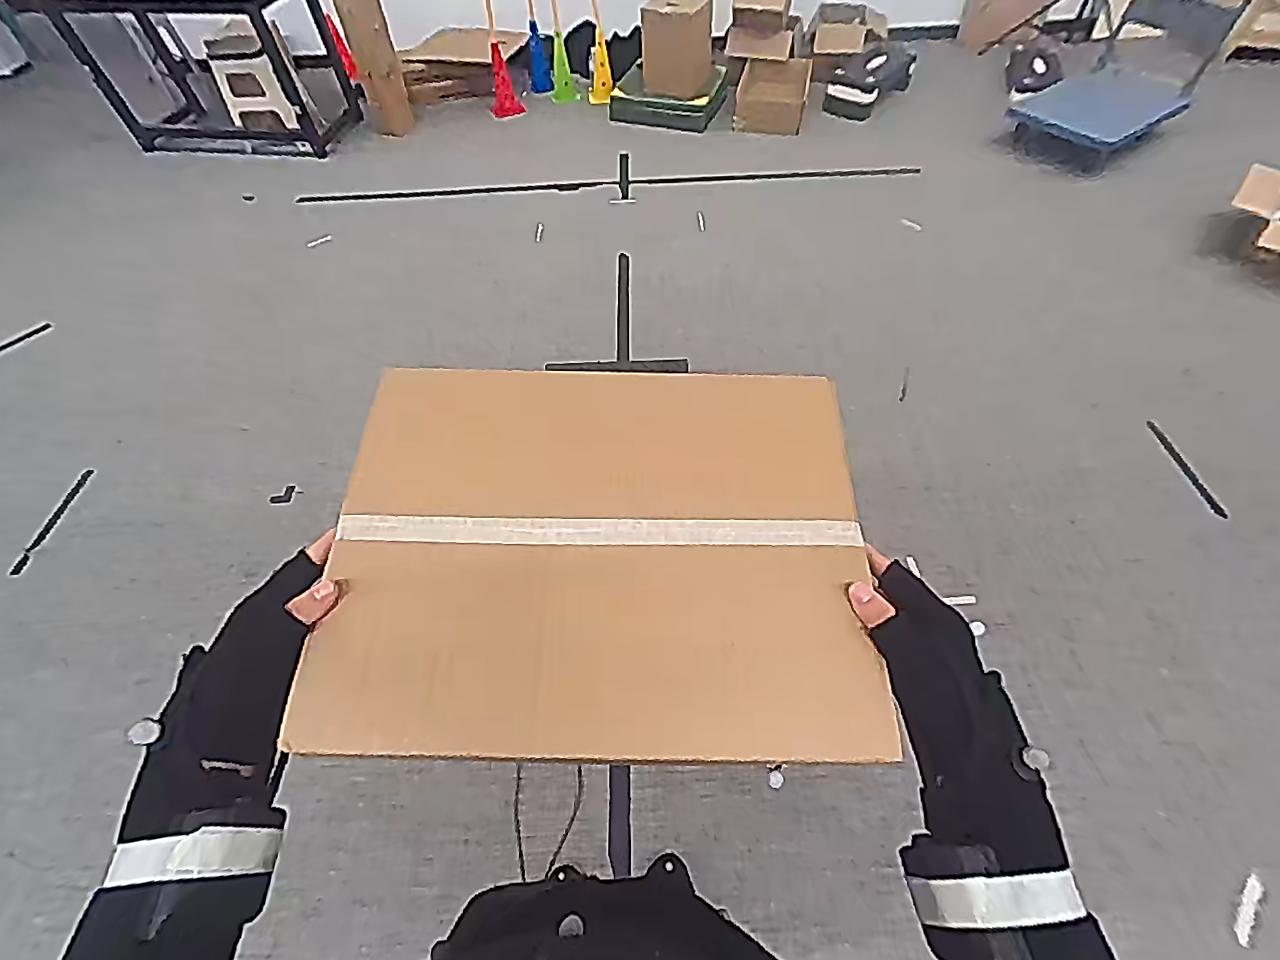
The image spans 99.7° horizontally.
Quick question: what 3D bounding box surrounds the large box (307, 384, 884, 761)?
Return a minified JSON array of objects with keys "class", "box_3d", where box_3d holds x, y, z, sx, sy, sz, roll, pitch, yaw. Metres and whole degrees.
[{"class":"large box","box_3d":[-0.029,0.115,0.567,0.408,0.320,0.320,1,62,0]}]
